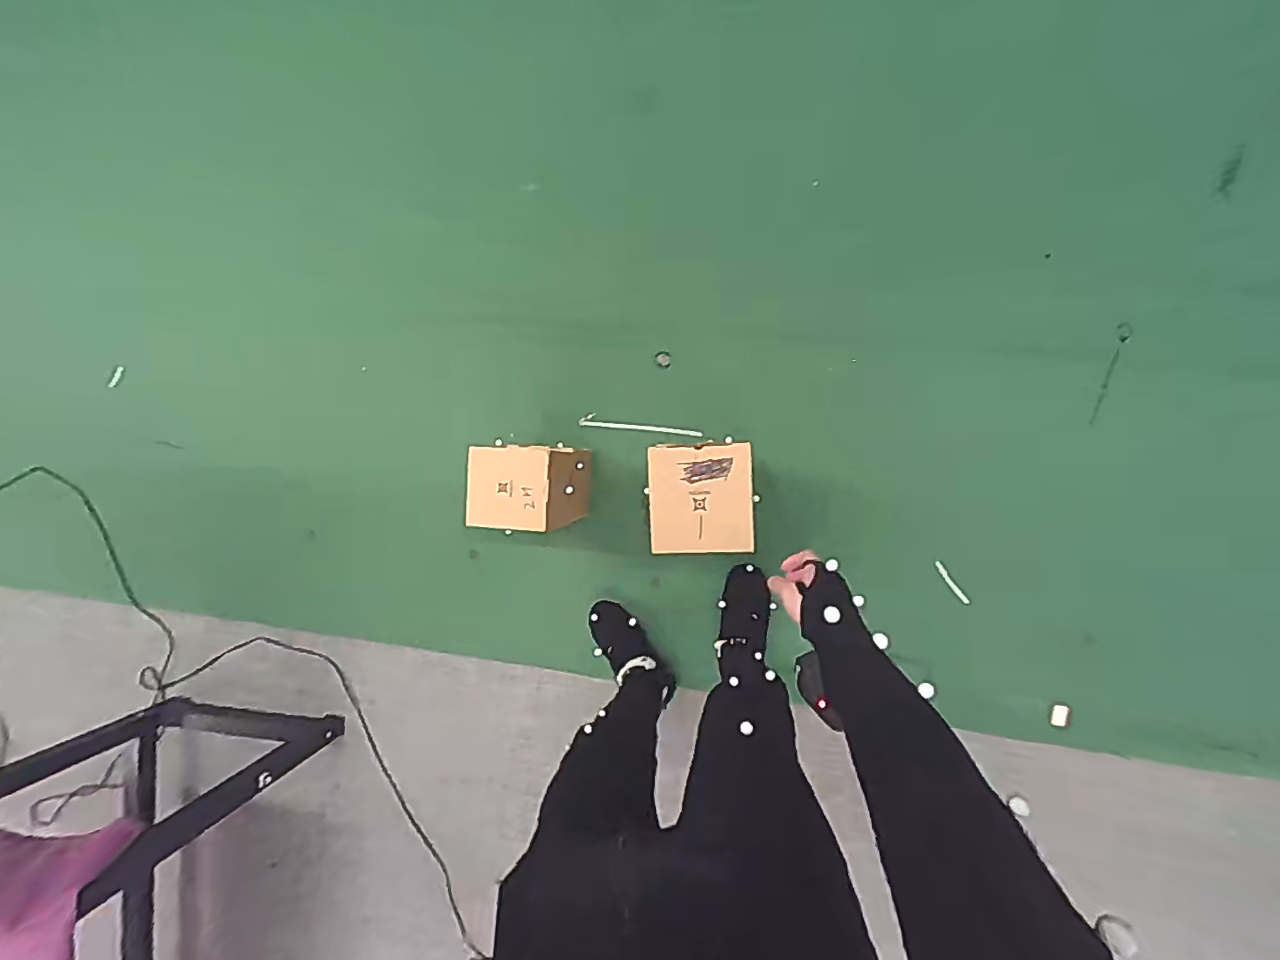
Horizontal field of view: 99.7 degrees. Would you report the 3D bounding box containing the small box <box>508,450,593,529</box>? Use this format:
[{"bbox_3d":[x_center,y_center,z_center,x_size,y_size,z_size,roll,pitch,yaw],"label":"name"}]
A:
[{"bbox_3d":[-0.218,0.021,1.327,0.168,0.176,0.179,3,90,10],"label":"small box"}]

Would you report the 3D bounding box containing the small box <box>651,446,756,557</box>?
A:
[{"bbox_3d":[0.110,0.033,0.937,0.168,0.176,0.179,-2,93,9],"label":"small box"}]

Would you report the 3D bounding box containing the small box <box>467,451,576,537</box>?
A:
[{"bbox_3d":[-0.250,0.027,1.165,0.179,0.176,0.168,3,91,10],"label":"small box"}]
